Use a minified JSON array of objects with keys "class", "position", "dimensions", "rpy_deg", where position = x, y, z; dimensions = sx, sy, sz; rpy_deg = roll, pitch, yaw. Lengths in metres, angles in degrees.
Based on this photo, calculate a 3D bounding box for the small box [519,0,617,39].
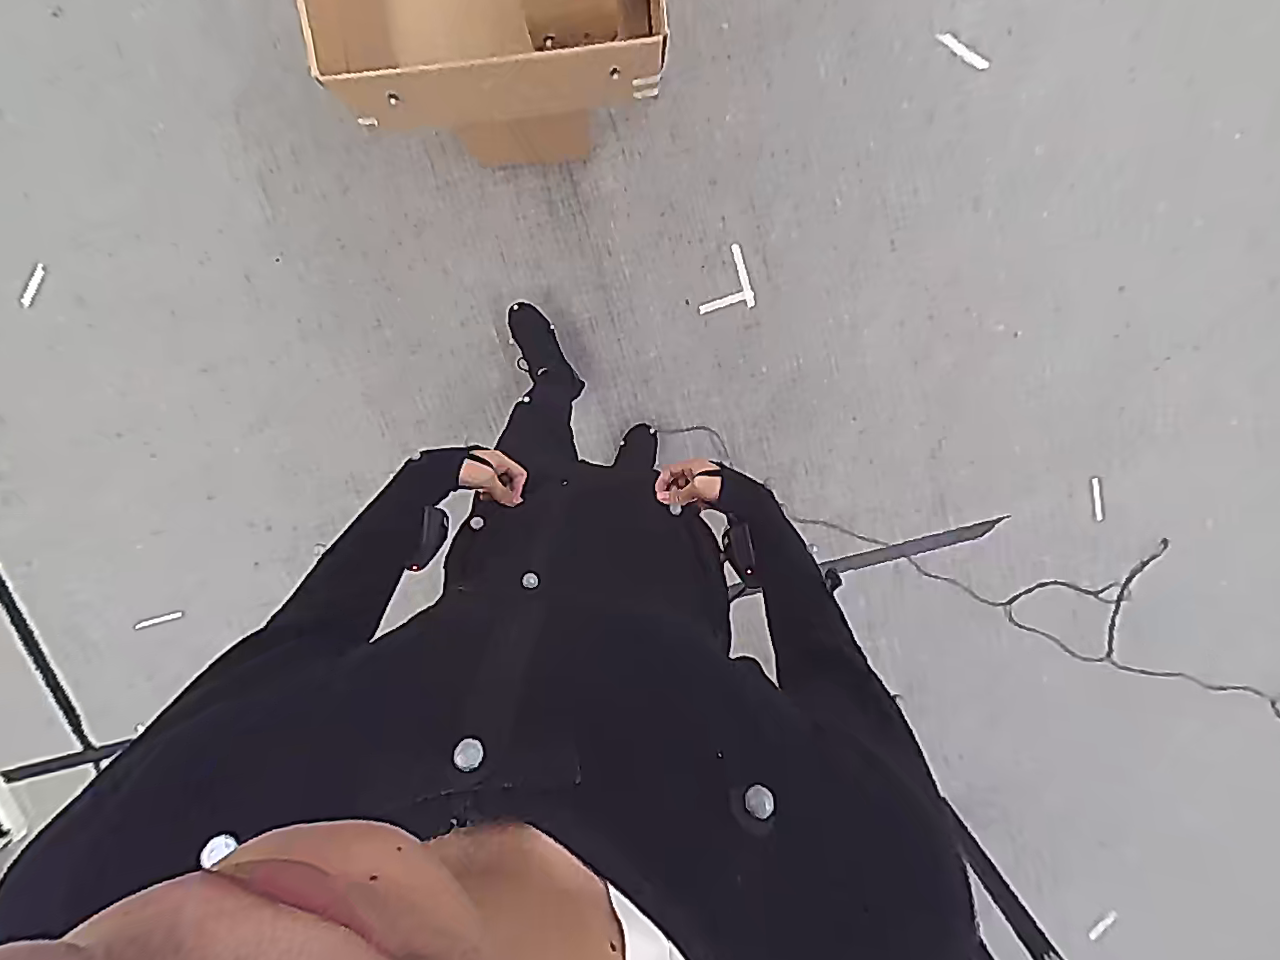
[{"class":"small box","position":[-0.135,-0.904,0.930],"dimensions":[0.168,0.176,0.179],"rpy_deg":[-9,100,1]}]
